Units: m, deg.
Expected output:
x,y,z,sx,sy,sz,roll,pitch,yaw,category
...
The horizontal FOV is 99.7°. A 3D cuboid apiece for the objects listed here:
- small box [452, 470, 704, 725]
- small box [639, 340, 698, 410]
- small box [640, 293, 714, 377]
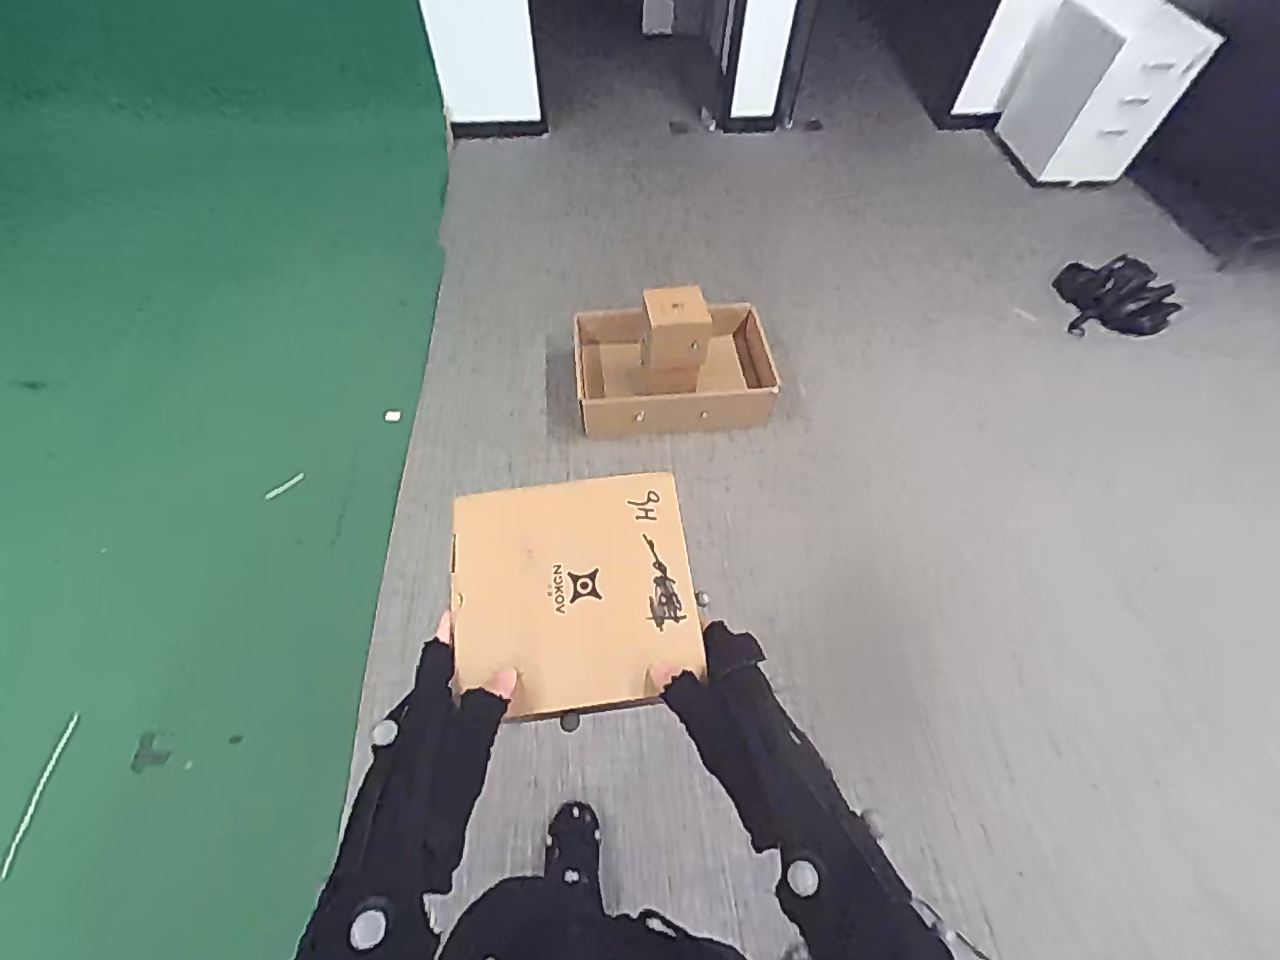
x,y,z,sx,sy,sz,roll,pitch,yaw,category
-0.053,0.112,0.476,0.179,0.176,0.168,-8,64,-6,small box
0.088,-0.342,1.768,0.168,0.176,0.179,-5,56,-5,small box
0.102,-0.430,1.612,0.179,0.176,0.168,-9,56,-10,small box
